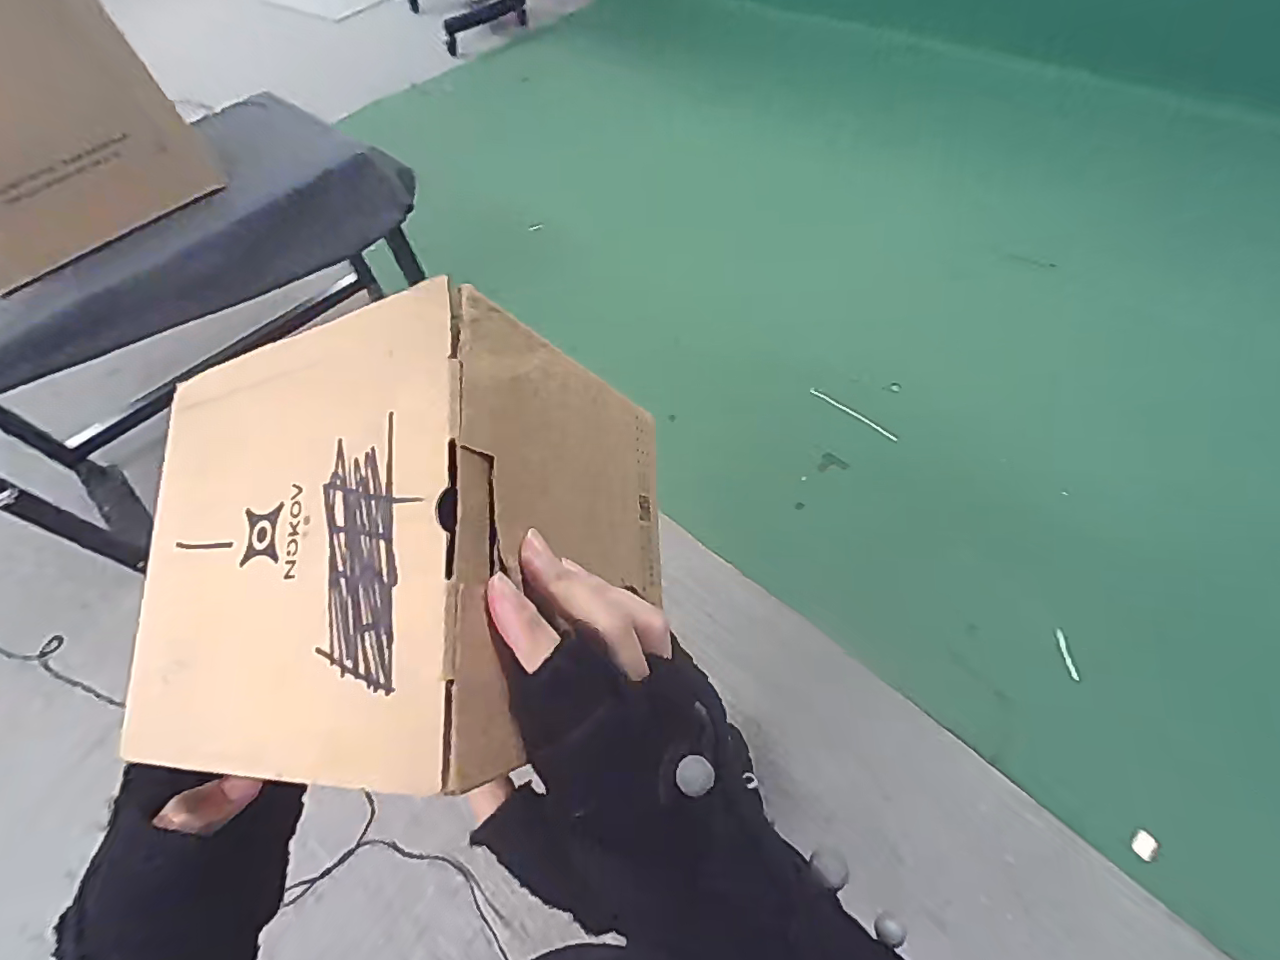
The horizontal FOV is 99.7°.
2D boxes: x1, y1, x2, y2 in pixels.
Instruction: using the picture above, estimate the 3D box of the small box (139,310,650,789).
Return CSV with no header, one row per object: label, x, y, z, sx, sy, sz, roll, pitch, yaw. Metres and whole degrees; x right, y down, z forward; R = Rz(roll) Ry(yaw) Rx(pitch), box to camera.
small box,-0.103,0.044,0.283,0.179,0.176,0.168,-12,75,21
